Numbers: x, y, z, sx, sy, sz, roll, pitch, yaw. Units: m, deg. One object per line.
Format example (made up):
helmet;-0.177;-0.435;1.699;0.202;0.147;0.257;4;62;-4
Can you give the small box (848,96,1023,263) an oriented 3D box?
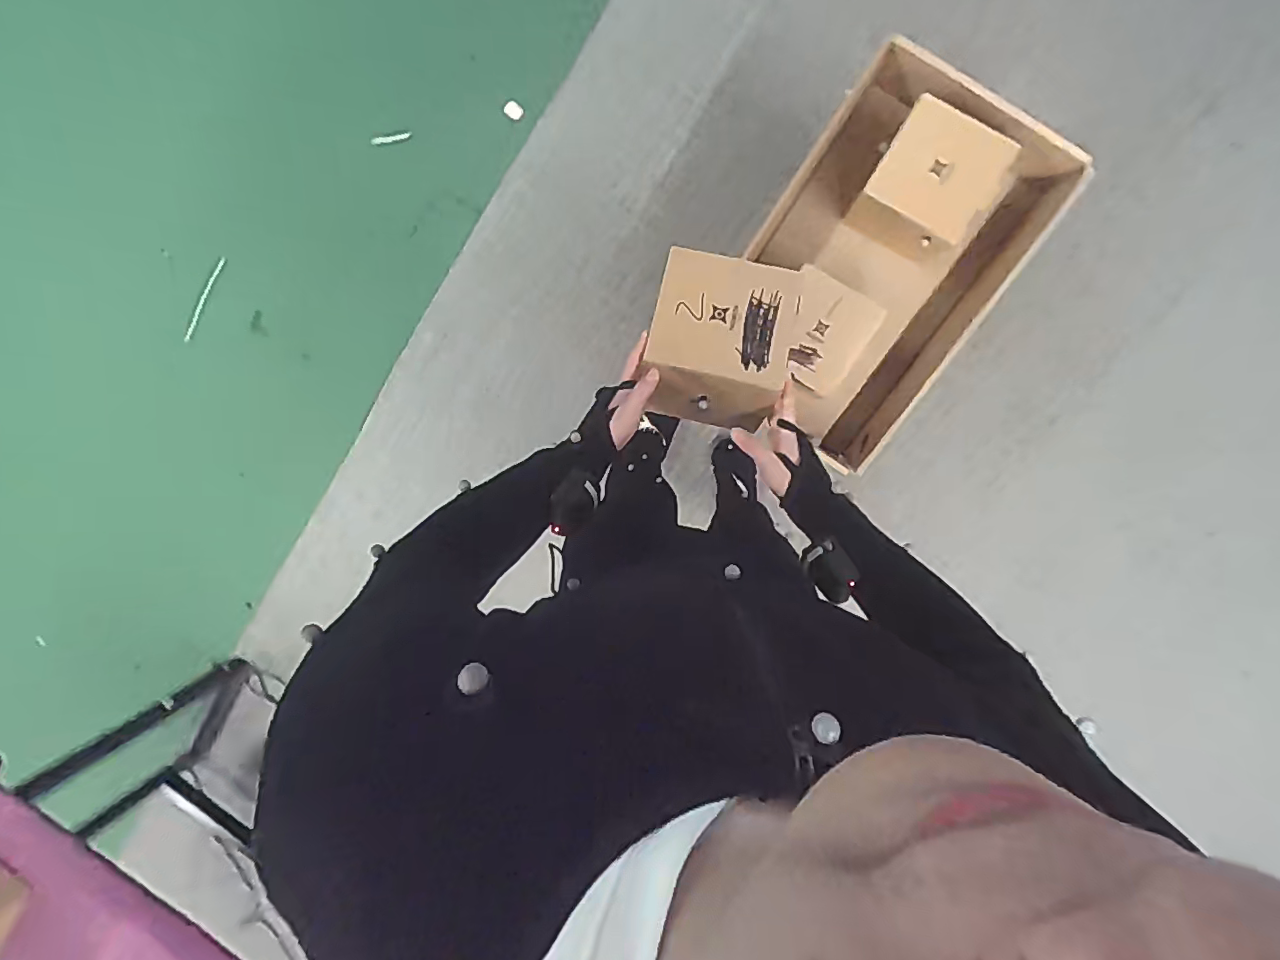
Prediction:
small box;0.489;-0.499;0.931;0.179;0.176;0.168;31;103;2

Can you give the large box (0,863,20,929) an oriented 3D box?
large box;-1.735;1.064;1.200;0.320;0.320;0.408;38;104;-1
